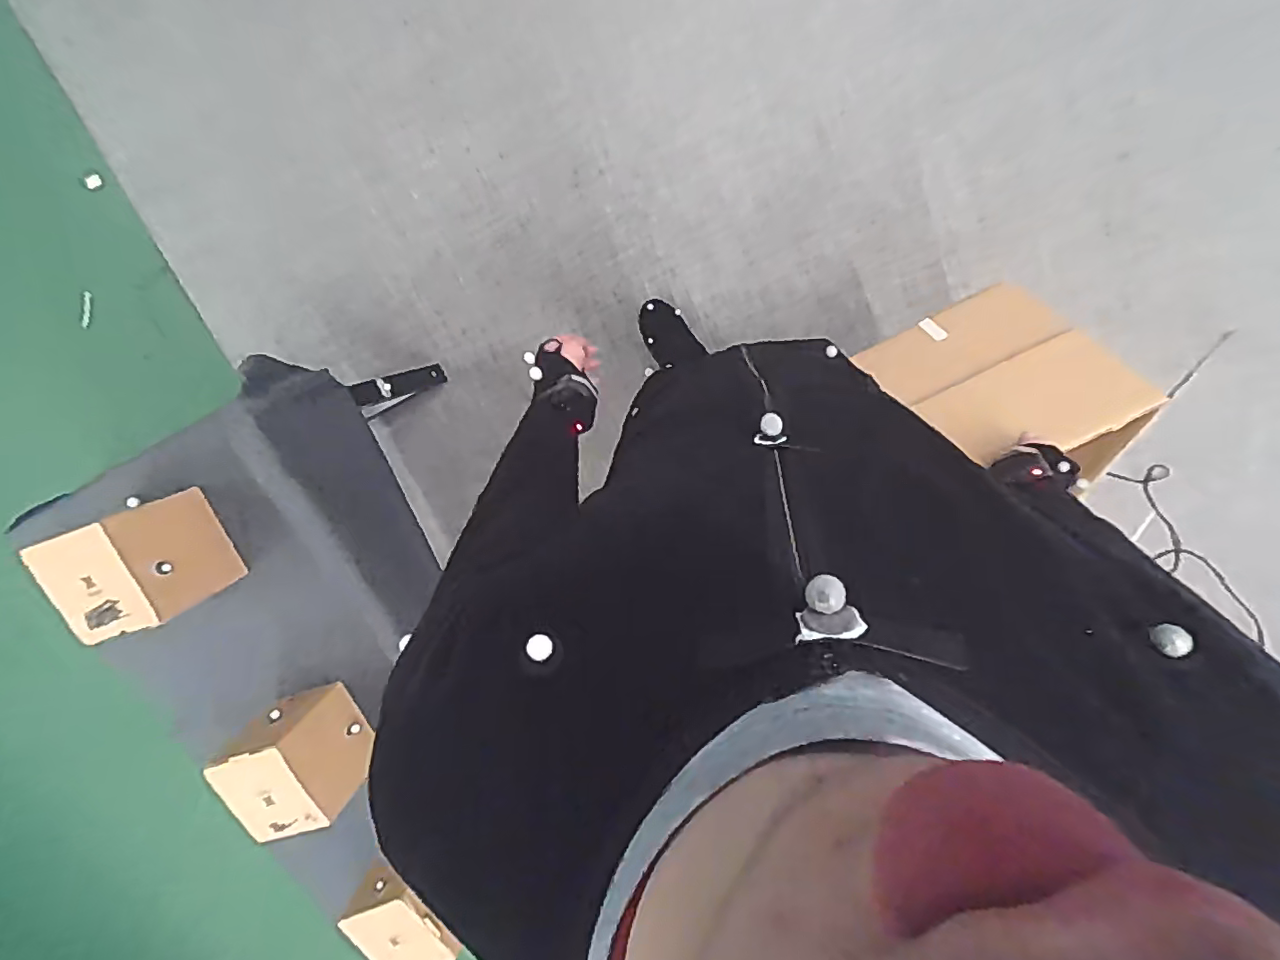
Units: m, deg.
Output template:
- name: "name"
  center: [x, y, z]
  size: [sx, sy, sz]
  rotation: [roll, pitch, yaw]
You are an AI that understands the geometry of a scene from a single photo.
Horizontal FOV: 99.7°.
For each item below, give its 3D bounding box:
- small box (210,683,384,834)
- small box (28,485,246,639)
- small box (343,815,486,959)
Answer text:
- name: "small box"
  center: [-0.618, 0.501, 0.997]
  size: [0.168, 0.176, 0.179]
  rotation: [-20, 104, 13]
- name: "small box"
  center: [-0.814, 0.130, 0.897]
  size: [0.168, 0.176, 0.179]
  rotation: [-16, 105, 12]
- name: "small box"
  center: [-0.433, 0.812, 1.076]
  size: [0.179, 0.176, 0.168]
  rotation: [-30, 100, 18]
